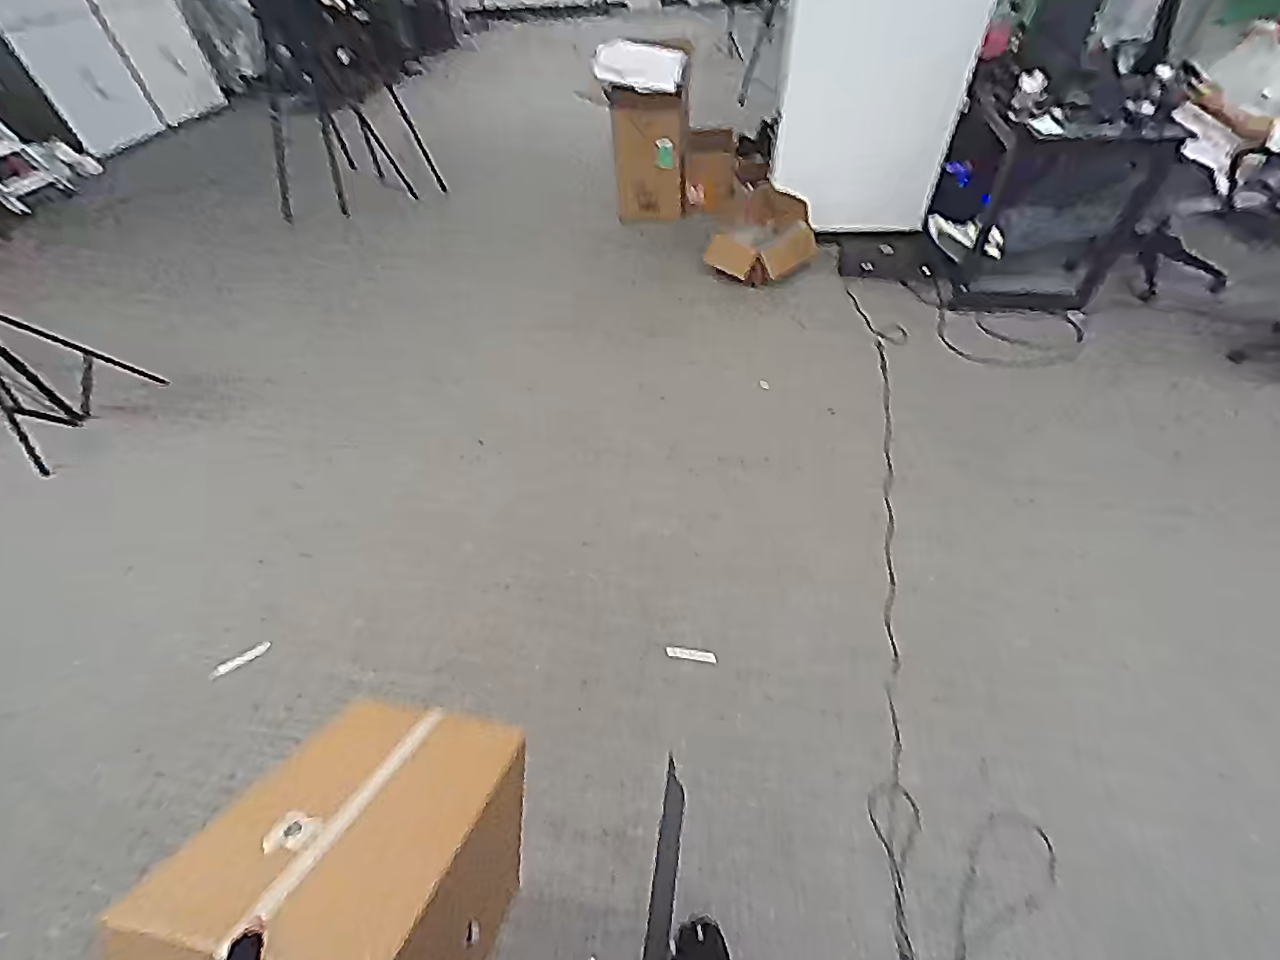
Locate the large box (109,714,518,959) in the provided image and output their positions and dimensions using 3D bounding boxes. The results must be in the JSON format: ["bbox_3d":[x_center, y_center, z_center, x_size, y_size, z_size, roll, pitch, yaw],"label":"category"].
[{"bbox_3d":[-0.393,0.603,0.760,0.320,0.320,0.408,6,10,8],"label":"large box"}]
